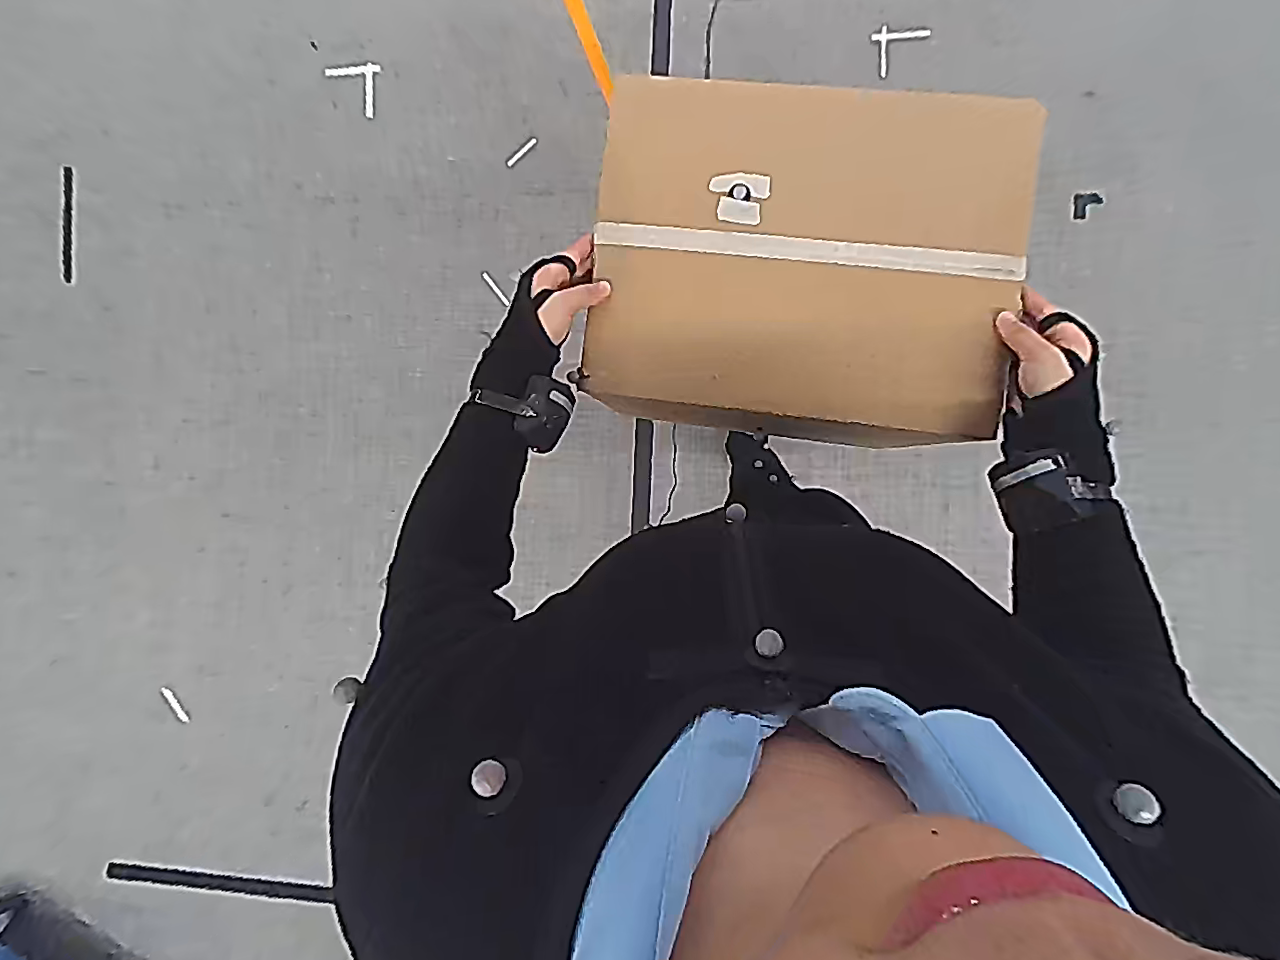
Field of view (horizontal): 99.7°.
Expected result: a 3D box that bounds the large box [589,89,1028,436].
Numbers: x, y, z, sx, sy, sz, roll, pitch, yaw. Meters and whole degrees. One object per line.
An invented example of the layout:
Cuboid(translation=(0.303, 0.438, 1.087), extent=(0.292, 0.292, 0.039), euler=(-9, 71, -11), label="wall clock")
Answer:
Cuboid(translation=(0.174, -0.230, 0.683), extent=(0.408, 0.320, 0.320), euler=(7, 91, 6), label="large box")
